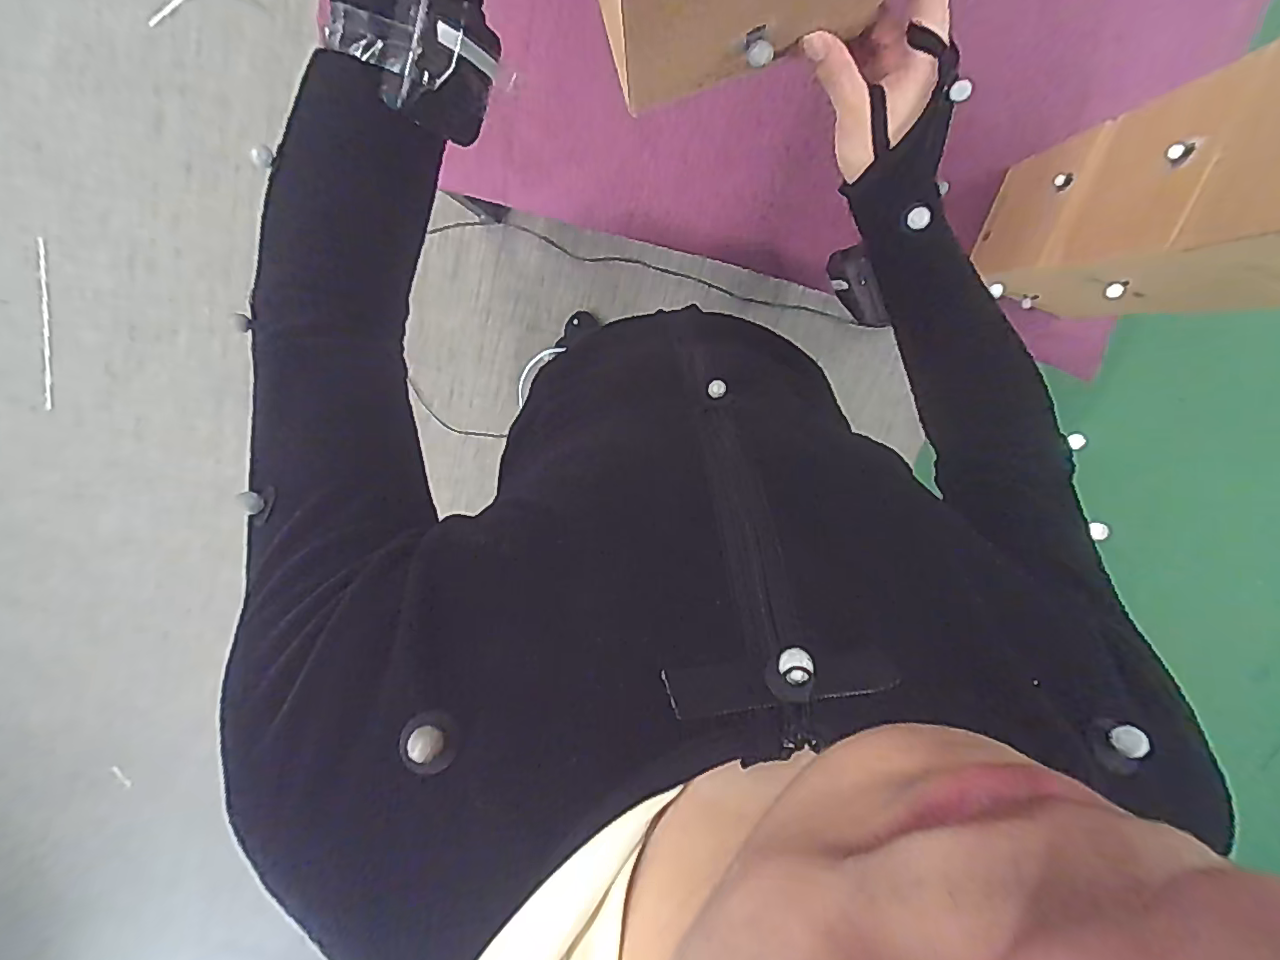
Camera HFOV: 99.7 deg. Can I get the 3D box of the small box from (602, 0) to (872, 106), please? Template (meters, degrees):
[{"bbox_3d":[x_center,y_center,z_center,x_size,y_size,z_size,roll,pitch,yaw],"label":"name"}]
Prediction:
[{"bbox_3d":[0.045,-0.346,0.281,0.168,0.176,0.179,-17,102,5],"label":"small box"}]

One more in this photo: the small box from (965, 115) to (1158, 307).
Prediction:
[{"bbox_3d":[0.585,-0.336,0.716,0.179,0.176,0.168,17,104,-5],"label":"small box"}]

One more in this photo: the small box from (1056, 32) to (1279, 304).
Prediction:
[{"bbox_3d":[0.589,-0.296,0.557,0.168,0.176,0.179,18,104,-3],"label":"small box"}]
